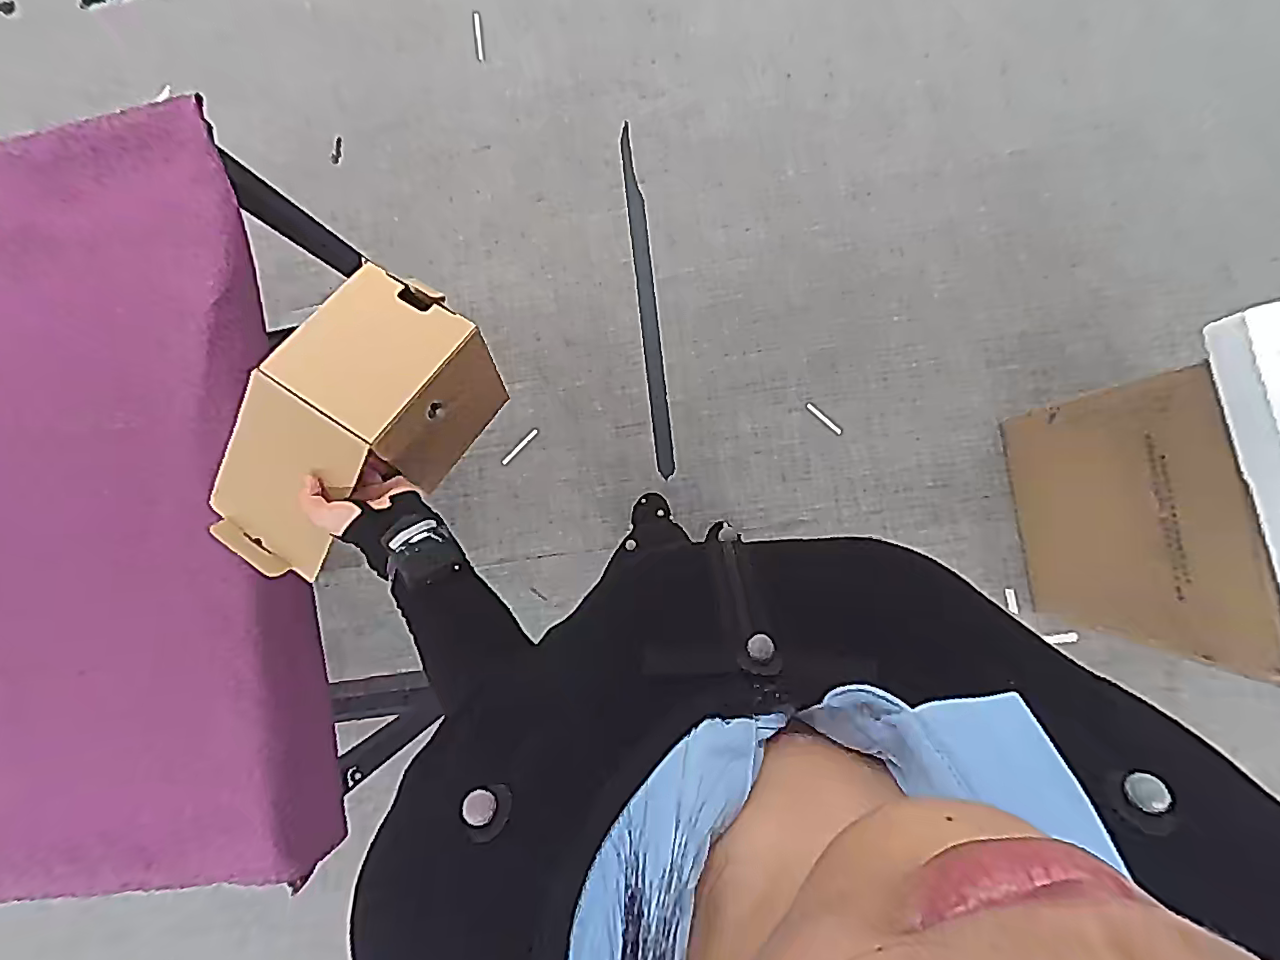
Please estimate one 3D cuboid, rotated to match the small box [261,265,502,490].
[{"bbox_3d":[-0.295,-0.114,0.664,0.168,0.176,0.179,32,72,10],"label":"small box"}]
